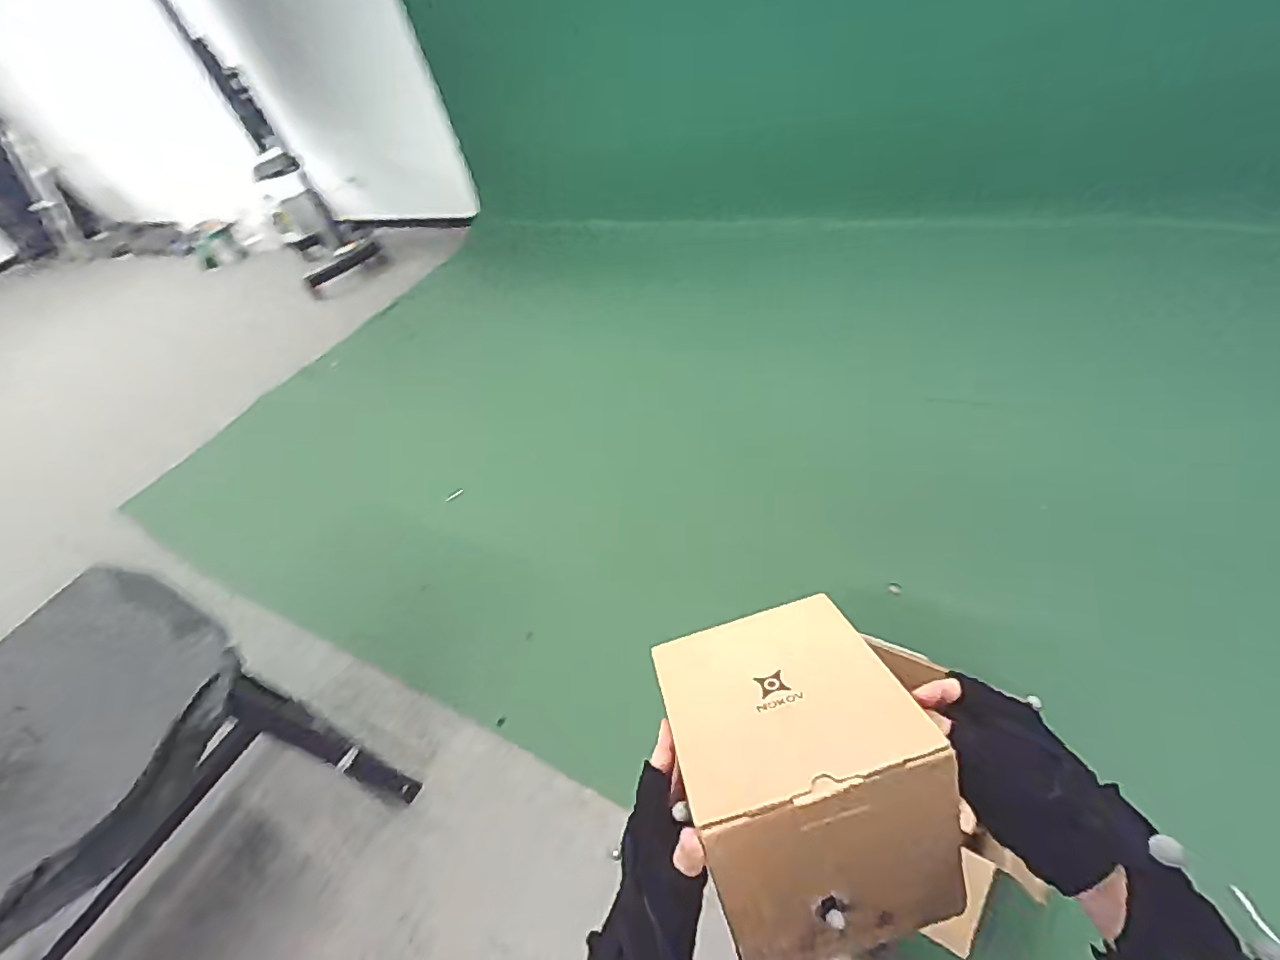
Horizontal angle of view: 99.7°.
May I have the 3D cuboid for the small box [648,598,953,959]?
[{"bbox_3d":[0.115,0.229,0.431,0.168,0.176,0.179,-17,24,-4],"label":"small box"}]
